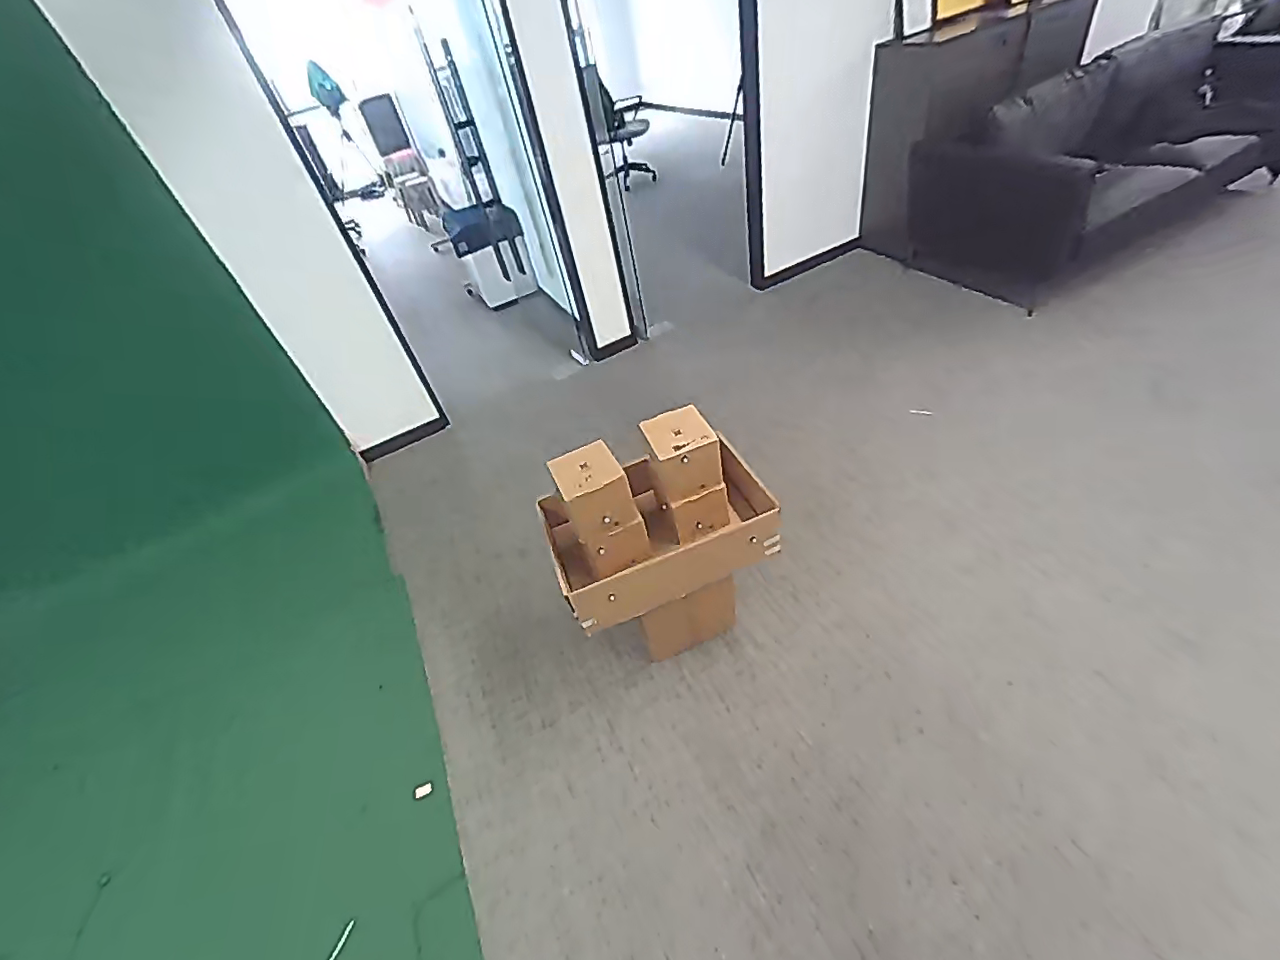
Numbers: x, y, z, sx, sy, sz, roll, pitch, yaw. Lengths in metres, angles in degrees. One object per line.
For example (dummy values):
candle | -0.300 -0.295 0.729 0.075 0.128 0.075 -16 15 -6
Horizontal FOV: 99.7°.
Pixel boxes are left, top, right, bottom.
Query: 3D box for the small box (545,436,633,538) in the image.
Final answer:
small box | -0.133 0.020 1.428 0.168 0.176 0.179 -24 45 -10

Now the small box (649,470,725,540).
small box | 0.137 0.042 1.583 0.168 0.176 0.179 -22 46 -8

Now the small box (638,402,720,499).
small box | 0.107 -0.078 1.474 0.168 0.176 0.179 -20 45 -7
